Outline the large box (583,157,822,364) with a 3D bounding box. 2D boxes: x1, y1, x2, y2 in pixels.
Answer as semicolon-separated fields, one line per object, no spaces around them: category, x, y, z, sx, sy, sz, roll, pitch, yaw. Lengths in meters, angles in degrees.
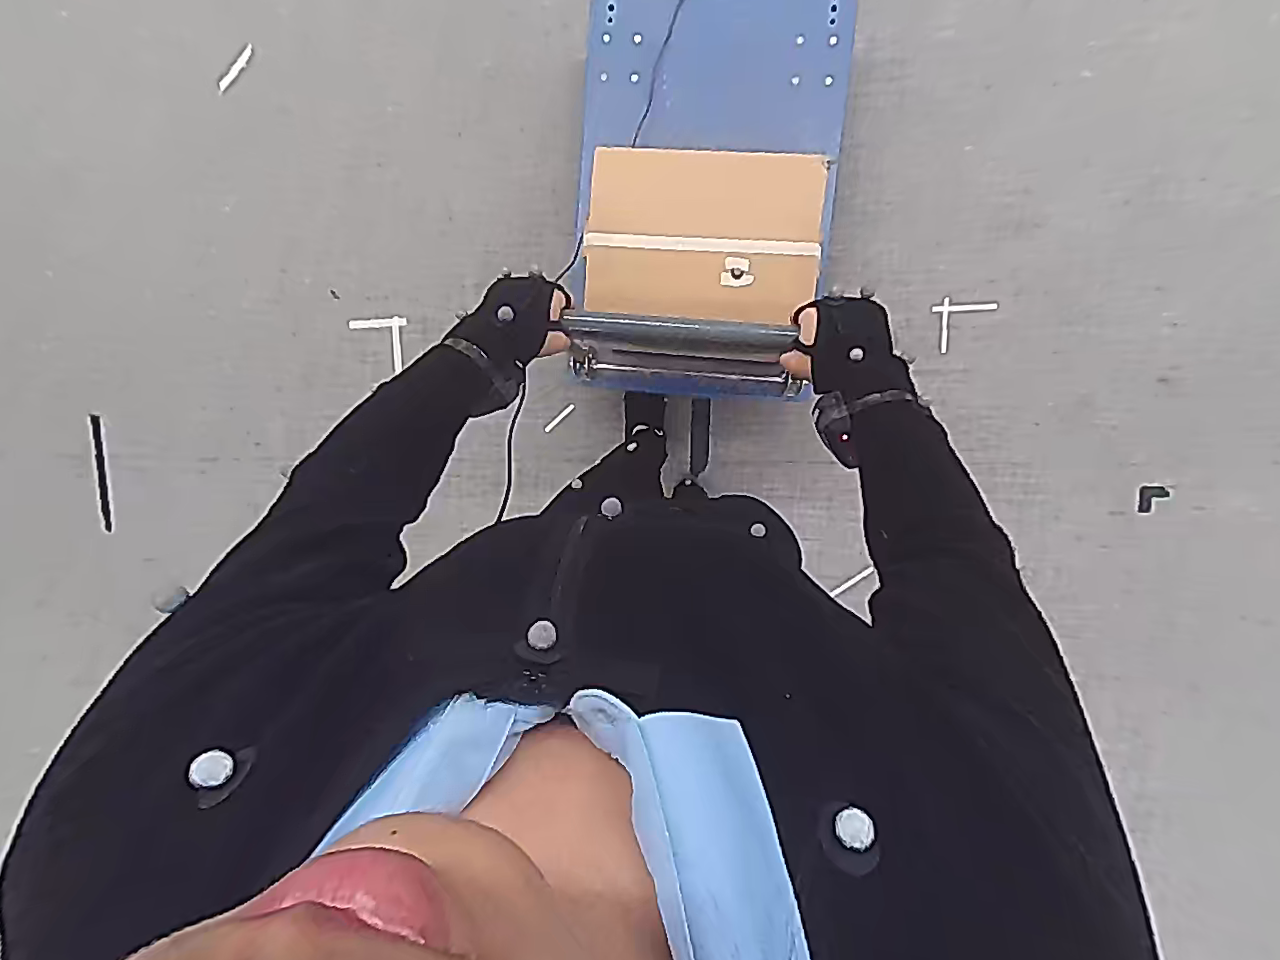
large box;0.113;-0.413;1.090;0.408;0.320;0.320;5;97;5
